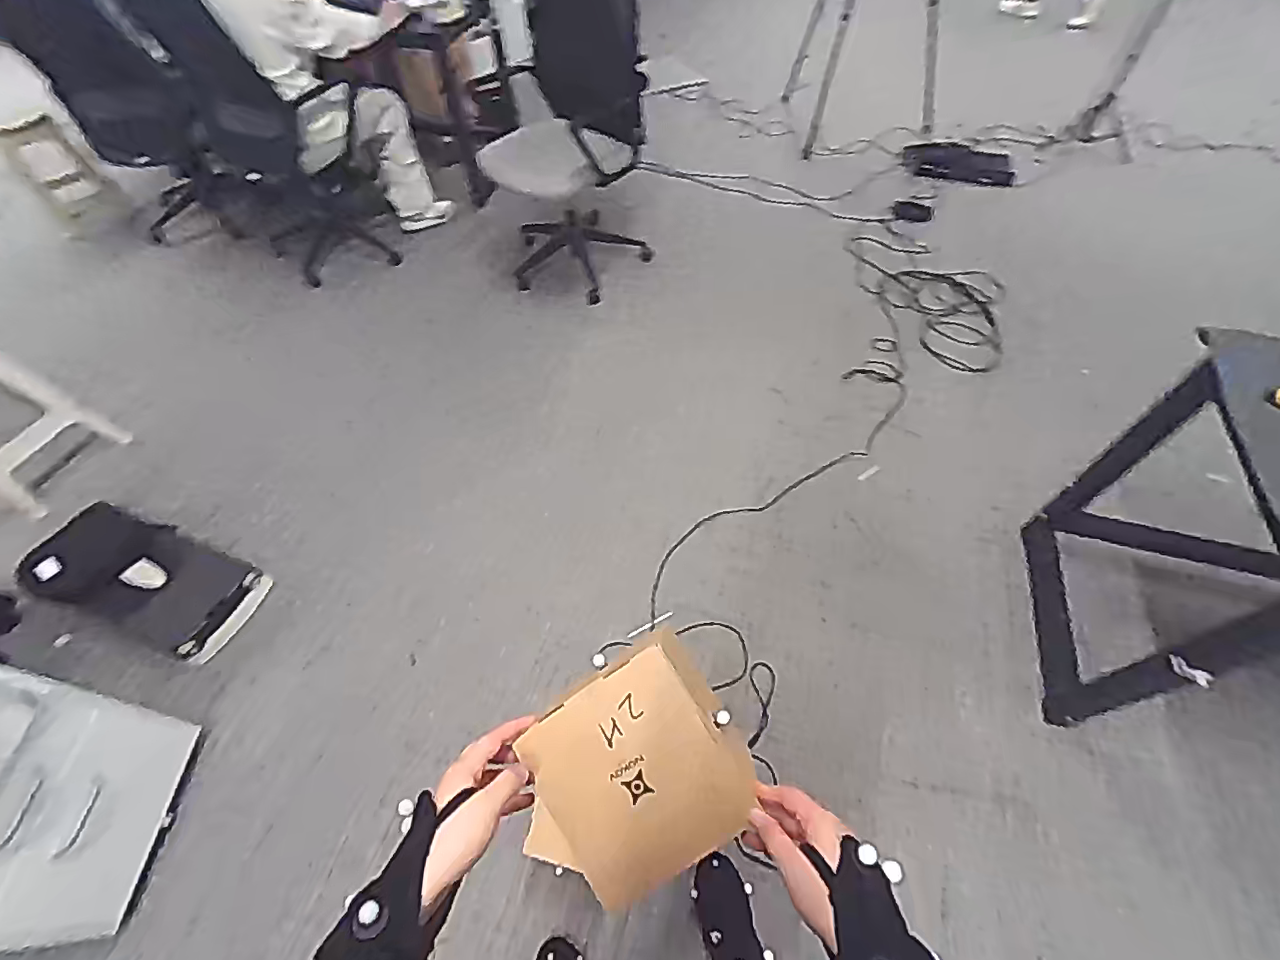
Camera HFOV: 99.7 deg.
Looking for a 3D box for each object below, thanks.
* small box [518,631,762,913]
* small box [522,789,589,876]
[{"bbox_3d":[0.006,0.281,0.569,0.168,0.176,0.179,-34,79,0],"label":"small box"},{"bbox_3d":[-0.131,0.739,1.172,0.179,0.176,0.168,10,56,9],"label":"small box"}]
